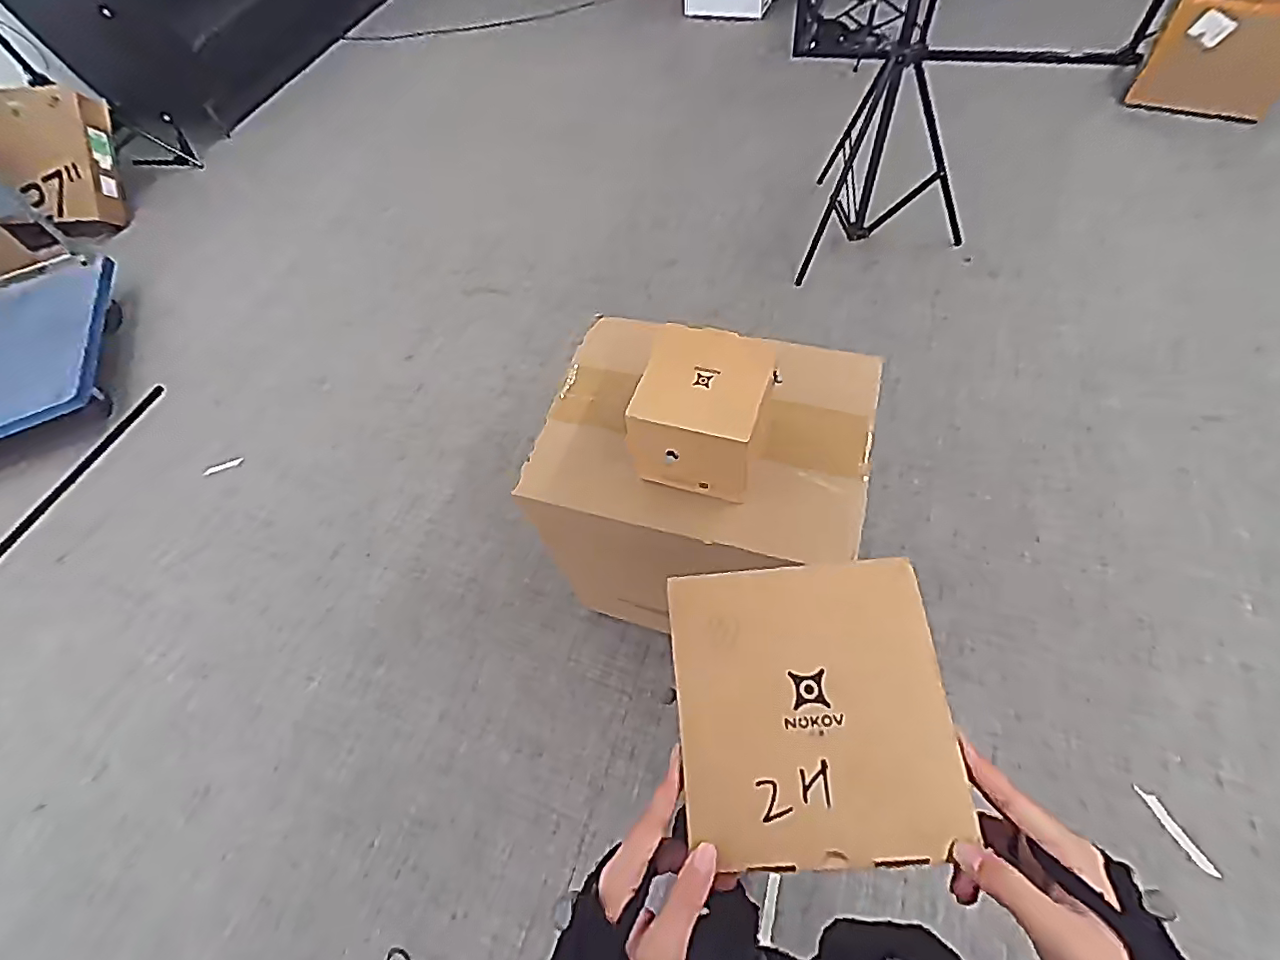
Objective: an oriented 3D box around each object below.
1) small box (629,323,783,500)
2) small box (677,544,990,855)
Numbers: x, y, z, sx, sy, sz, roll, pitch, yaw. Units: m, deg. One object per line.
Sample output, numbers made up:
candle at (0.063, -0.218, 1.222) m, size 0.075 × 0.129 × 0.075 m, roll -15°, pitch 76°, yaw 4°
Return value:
small box at (0.100, -0.094, 0.782) m, size 0.168 × 0.176 × 0.179 m, roll 14°, pitch 61°, yaw 16°
small box at (0.117, 0.159, 0.409) m, size 0.168 × 0.176 × 0.179 m, roll -6°, pitch 68°, yaw 6°
